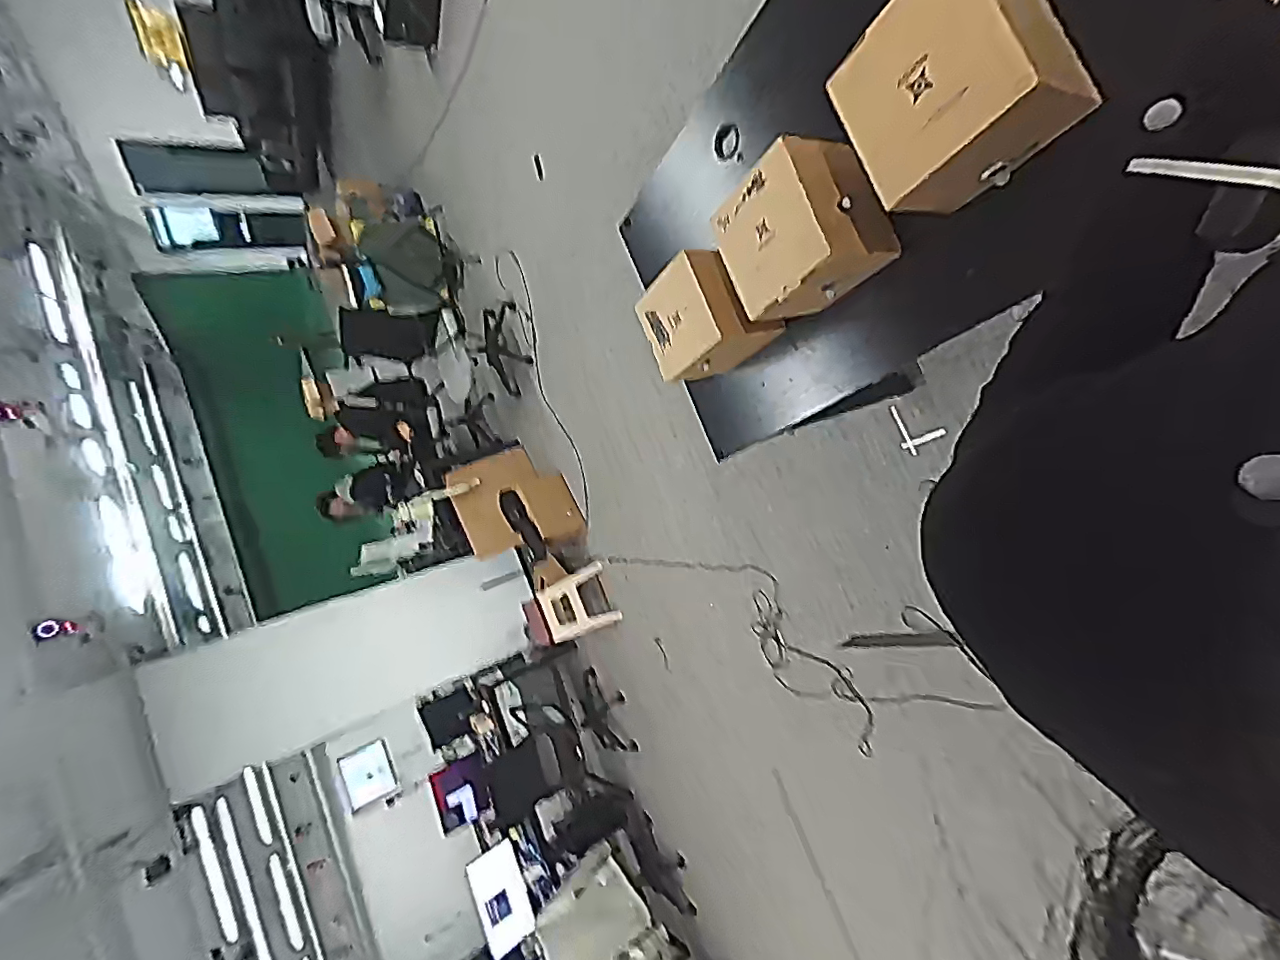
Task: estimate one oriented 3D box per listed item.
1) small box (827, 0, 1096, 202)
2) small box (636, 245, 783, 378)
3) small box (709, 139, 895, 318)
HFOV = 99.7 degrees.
[{"bbox_3d":[0.353,-0.437,0.603,0.168,0.176,0.179,-33,78,57],"label":"small box"},{"bbox_3d":[0.126,-0.307,0.994,0.179,0.176,0.168,-31,80,56],"label":"small box"},{"bbox_3d":[0.240,-0.366,0.800,0.168,0.176,0.179,-31,80,55],"label":"small box"}]
